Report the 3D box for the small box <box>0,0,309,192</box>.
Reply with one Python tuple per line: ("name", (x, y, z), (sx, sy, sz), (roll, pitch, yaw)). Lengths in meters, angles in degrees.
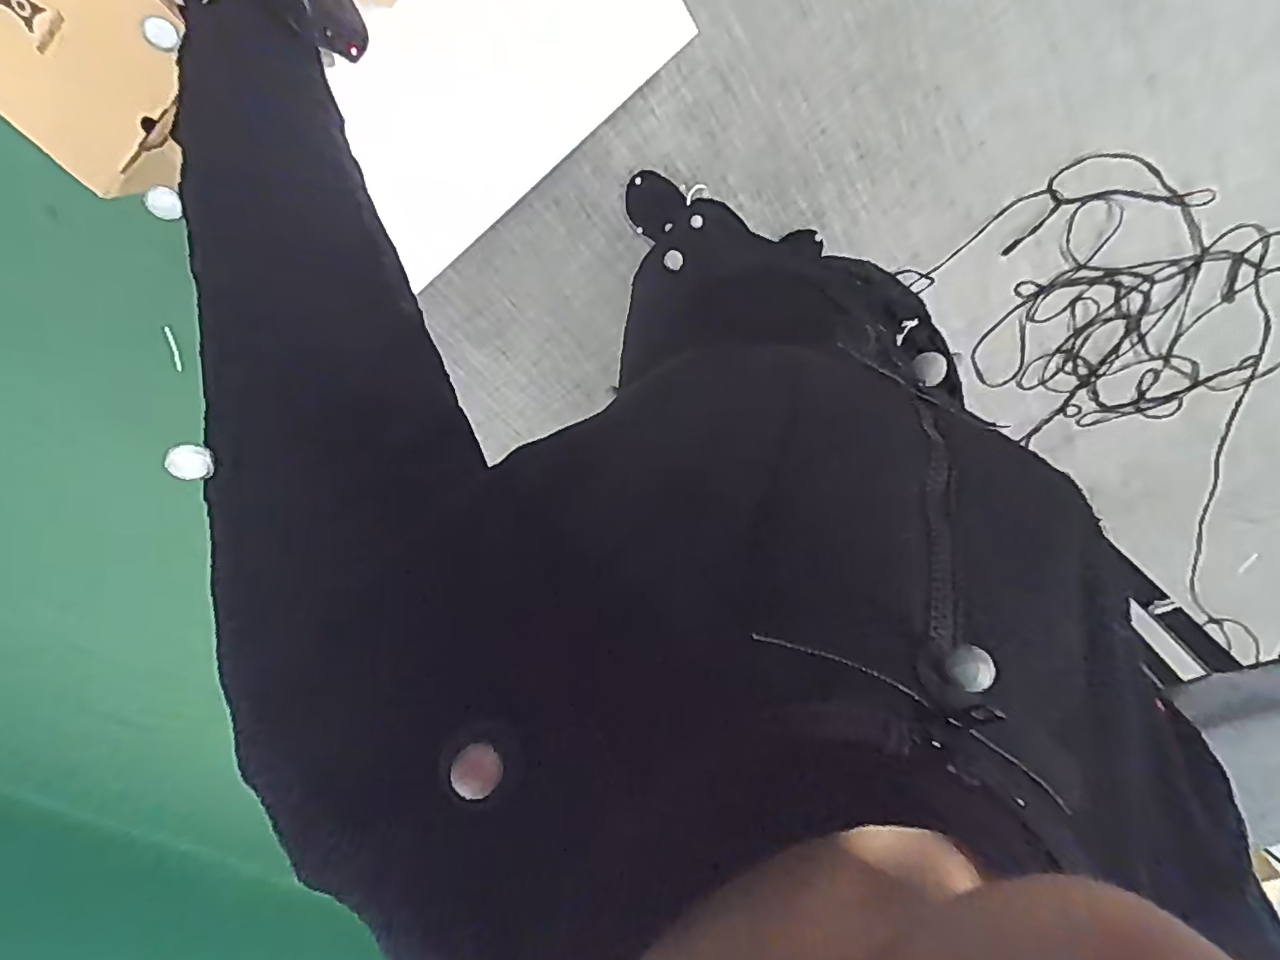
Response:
("small box", (-0.426, -0.374, 0.442), (0.168, 0.176, 0.179), (-32, 121, 19))
